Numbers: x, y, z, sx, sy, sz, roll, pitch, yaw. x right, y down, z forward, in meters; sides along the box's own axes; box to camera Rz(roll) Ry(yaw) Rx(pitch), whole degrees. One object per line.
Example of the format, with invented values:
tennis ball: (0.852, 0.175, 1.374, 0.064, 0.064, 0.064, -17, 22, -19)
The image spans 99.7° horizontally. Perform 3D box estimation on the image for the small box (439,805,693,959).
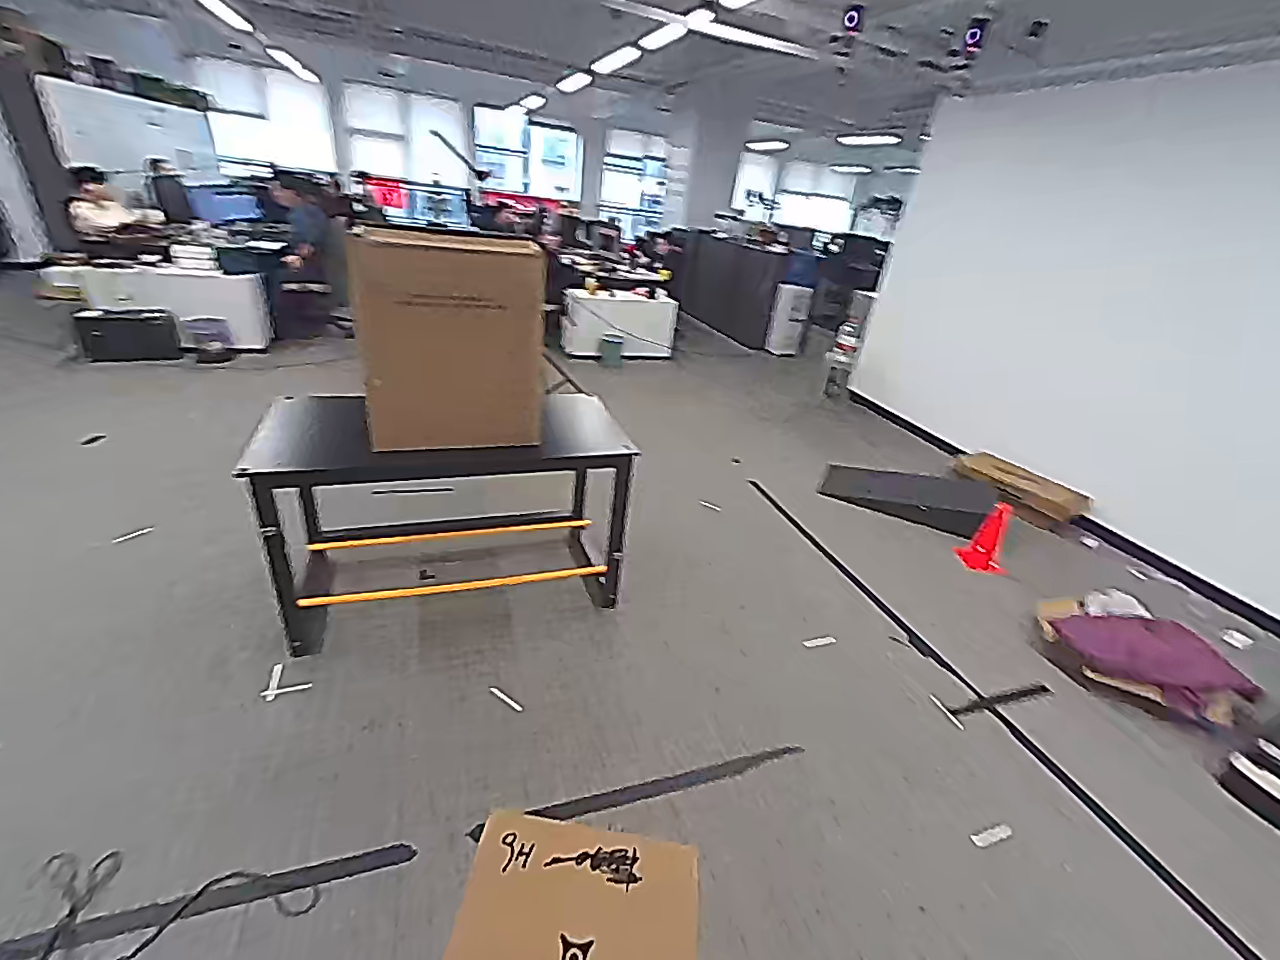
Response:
small box: (-0.058, 0.379, 0.400, 0.168, 0.176, 0.179, 9, 38, 0)
